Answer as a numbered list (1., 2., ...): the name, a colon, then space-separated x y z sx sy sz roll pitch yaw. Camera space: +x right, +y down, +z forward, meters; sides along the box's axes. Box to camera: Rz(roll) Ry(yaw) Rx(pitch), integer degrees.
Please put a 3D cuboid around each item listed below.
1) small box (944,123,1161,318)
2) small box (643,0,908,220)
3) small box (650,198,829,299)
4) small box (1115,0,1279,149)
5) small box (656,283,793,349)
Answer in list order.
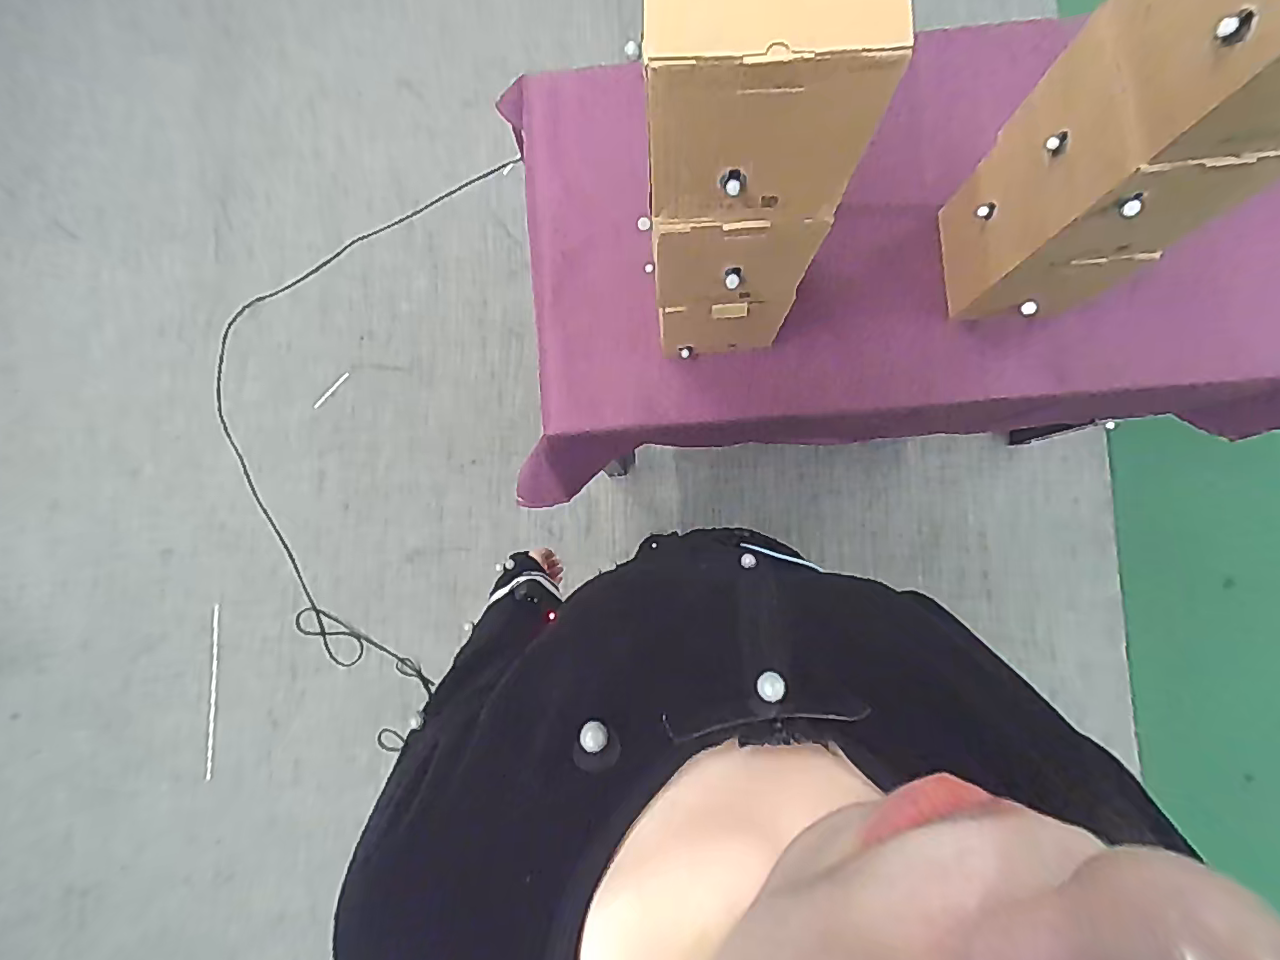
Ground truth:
1. small box: 0.535 -0.338 0.730 0.168 0.176 0.179 -2 84 3
2. small box: 0.086 -0.334 0.423 0.168 0.176 0.179 -1 84 2
3. small box: 0.093 -0.309 0.585 0.168 0.176 0.179 -3 85 2
4. small box: 0.516 -0.381 0.406 0.168 0.176 0.179 -5 83 2
5. small box: 0.104 -0.291 0.748 0.168 0.176 0.179 -5 83 2
